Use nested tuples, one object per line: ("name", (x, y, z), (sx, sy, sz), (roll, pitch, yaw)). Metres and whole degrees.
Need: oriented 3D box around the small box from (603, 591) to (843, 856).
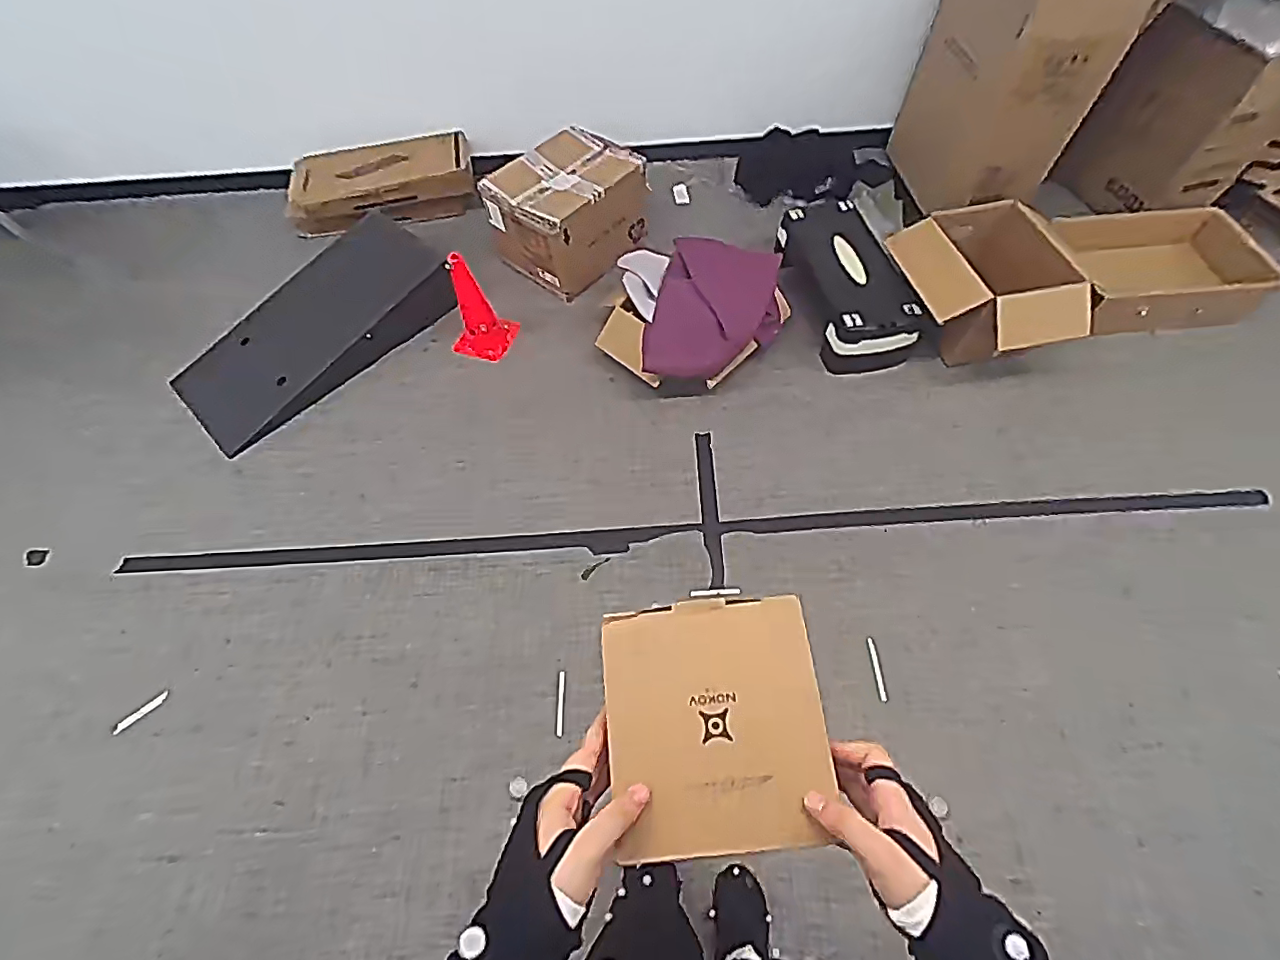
("small box", (0.059, 0.208, 0.486), (0.168, 0.176, 0.179), (-6, 69, 1))
